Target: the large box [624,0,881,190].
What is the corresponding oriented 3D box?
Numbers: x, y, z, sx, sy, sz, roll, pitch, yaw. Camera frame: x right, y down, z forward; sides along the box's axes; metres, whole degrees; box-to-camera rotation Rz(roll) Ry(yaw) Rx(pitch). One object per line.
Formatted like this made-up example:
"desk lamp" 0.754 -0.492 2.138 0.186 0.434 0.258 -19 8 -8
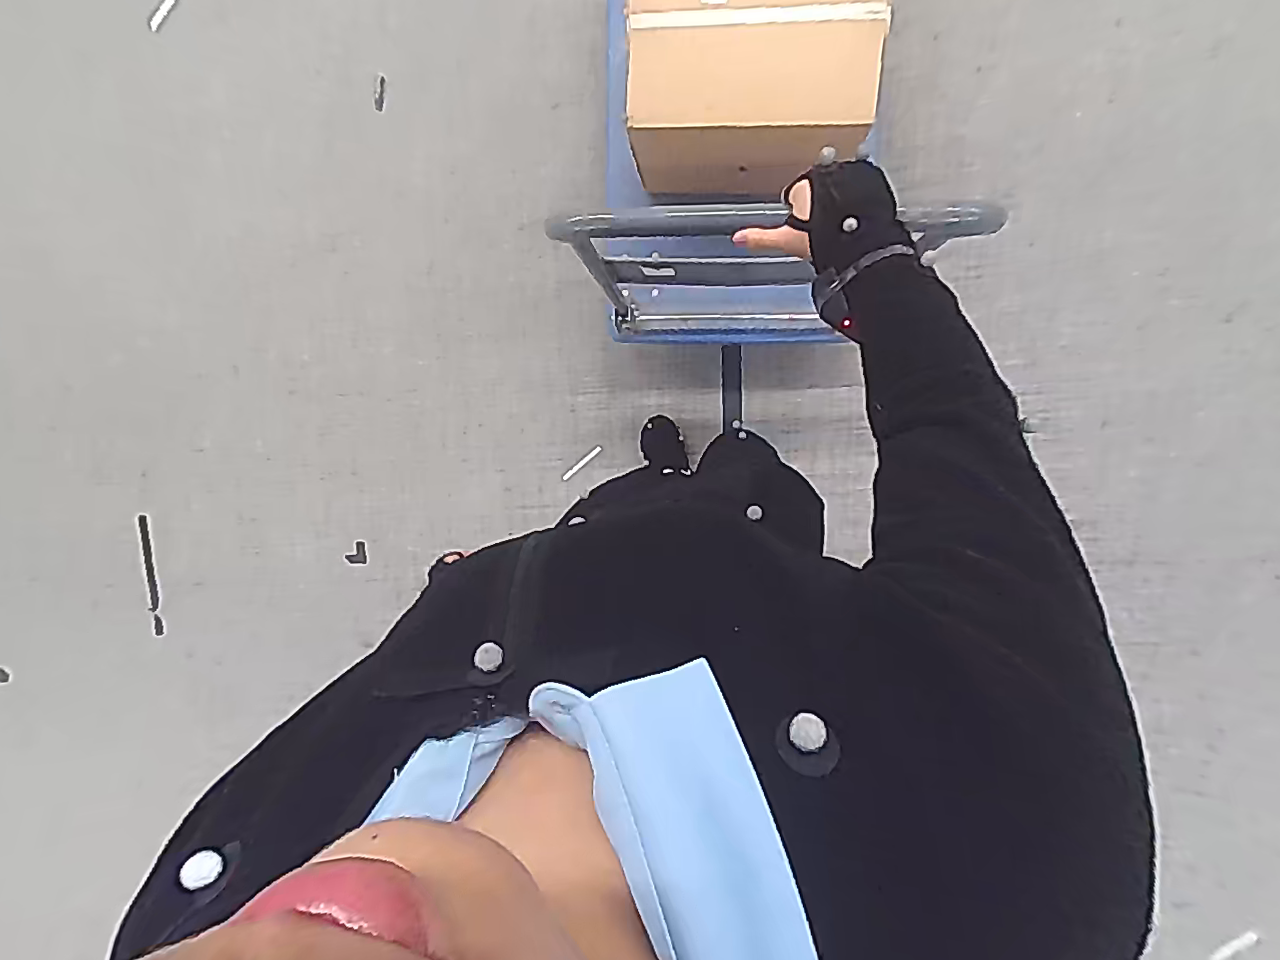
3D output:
"large box" 0.196 -0.755 0.998 0.408 0.320 0.320 3 98 8
